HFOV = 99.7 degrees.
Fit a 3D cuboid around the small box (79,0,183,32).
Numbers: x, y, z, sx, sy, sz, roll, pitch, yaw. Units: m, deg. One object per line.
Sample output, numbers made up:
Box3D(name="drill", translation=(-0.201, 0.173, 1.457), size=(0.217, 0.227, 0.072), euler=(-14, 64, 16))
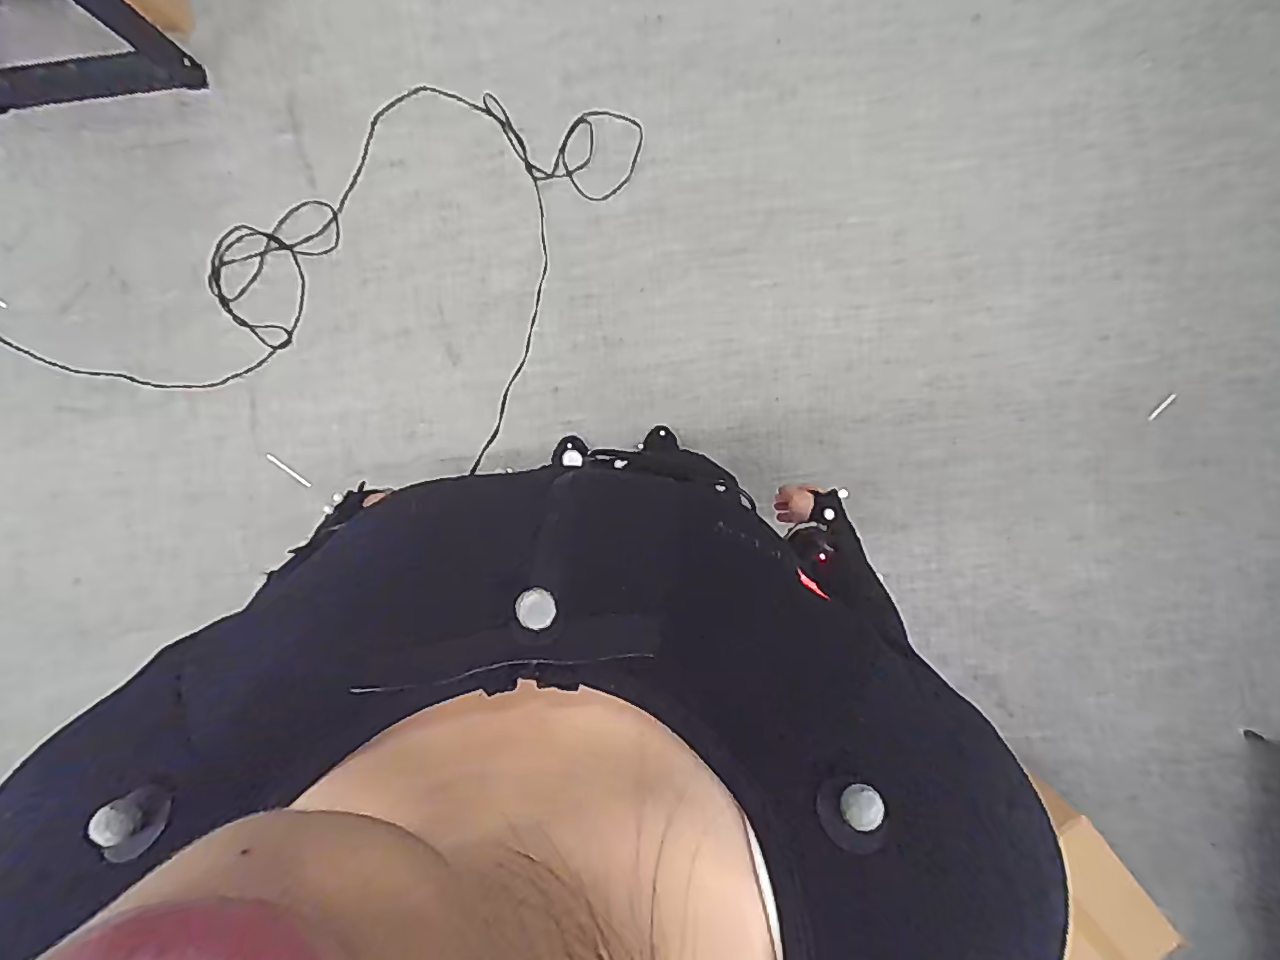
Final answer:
Box3D(name="small box", translation=(-1.233, -1.209, 1.282), size=(0.179, 0.176, 0.168), euler=(-3, 95, -1))
